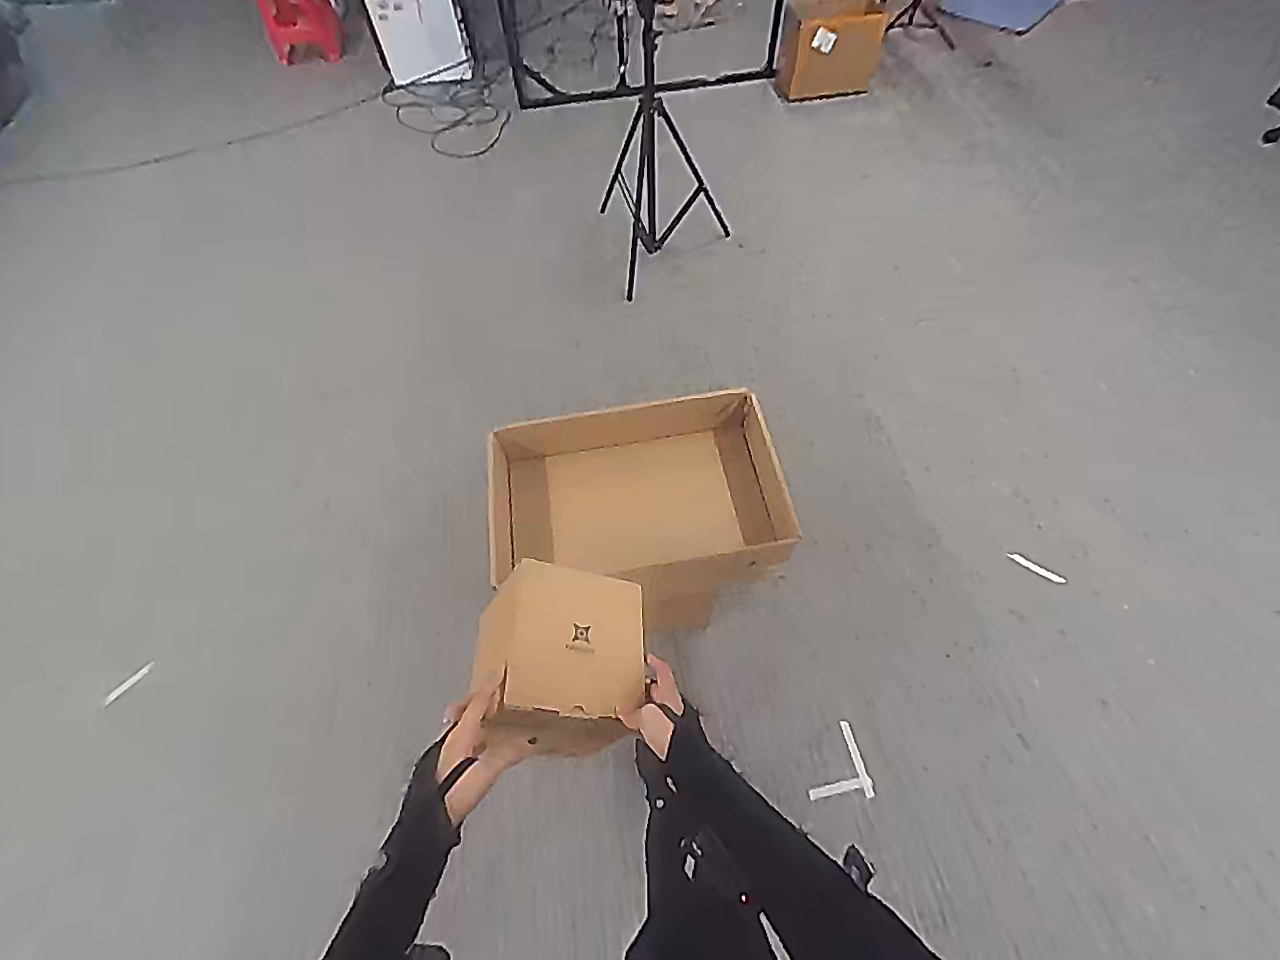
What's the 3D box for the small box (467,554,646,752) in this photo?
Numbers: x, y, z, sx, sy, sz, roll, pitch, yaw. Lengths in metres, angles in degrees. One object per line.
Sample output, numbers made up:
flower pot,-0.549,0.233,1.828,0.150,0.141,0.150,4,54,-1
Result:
small box,-0.106,0.223,0.680,0.168,0.176,0.179,18,47,-23
